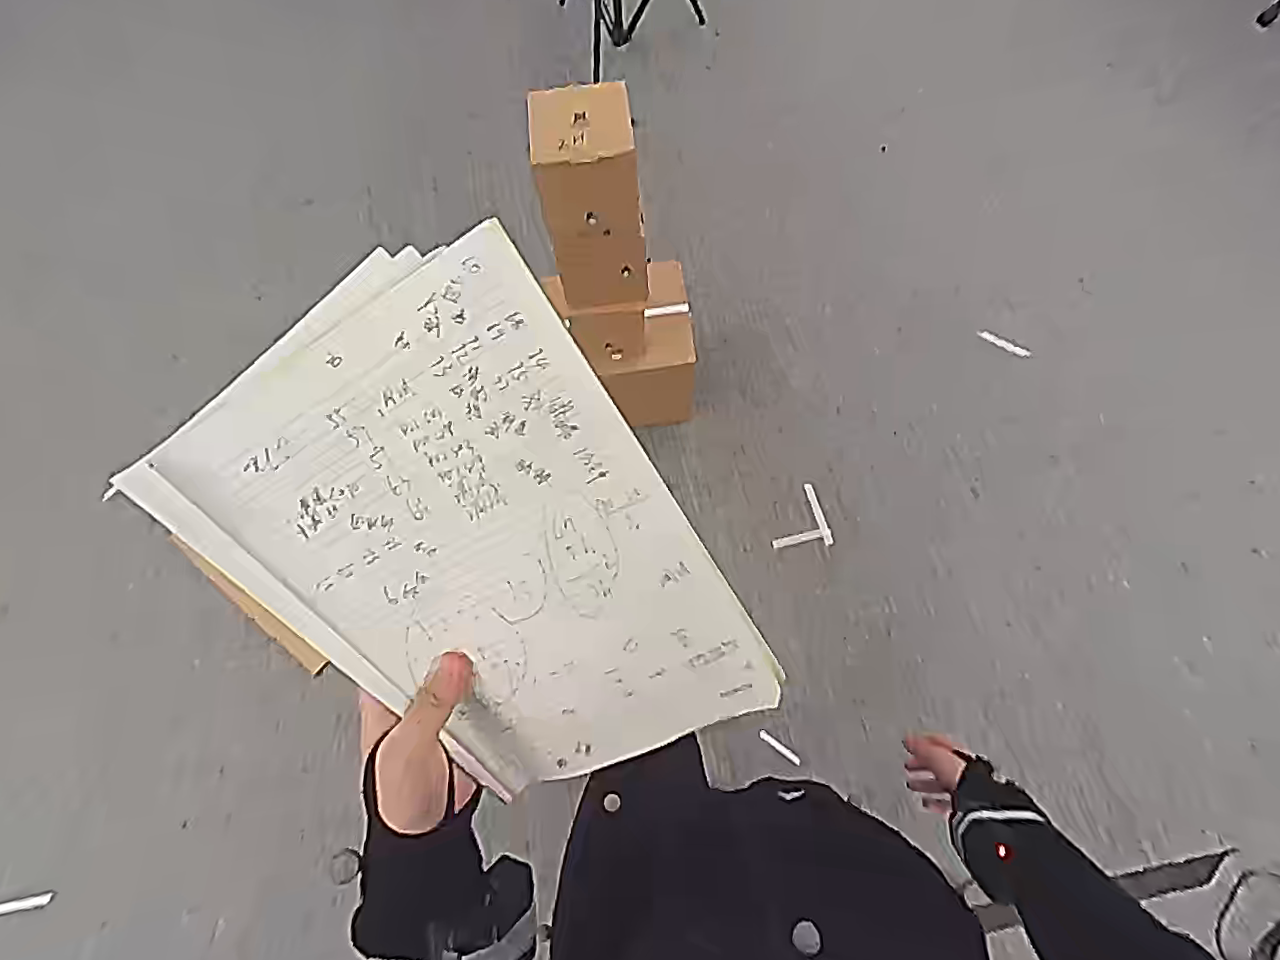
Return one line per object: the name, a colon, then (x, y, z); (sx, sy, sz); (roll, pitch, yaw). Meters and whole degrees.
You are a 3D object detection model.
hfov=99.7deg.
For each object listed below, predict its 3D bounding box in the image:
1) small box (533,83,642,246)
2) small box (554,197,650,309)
small box: (-0.087, -0.541, 0.939); (0.168, 0.176, 0.179); (-7, 68, 1)
small box: (-0.075, -0.471, 1.088); (0.179, 0.176, 0.168); (-9, 68, 1)
